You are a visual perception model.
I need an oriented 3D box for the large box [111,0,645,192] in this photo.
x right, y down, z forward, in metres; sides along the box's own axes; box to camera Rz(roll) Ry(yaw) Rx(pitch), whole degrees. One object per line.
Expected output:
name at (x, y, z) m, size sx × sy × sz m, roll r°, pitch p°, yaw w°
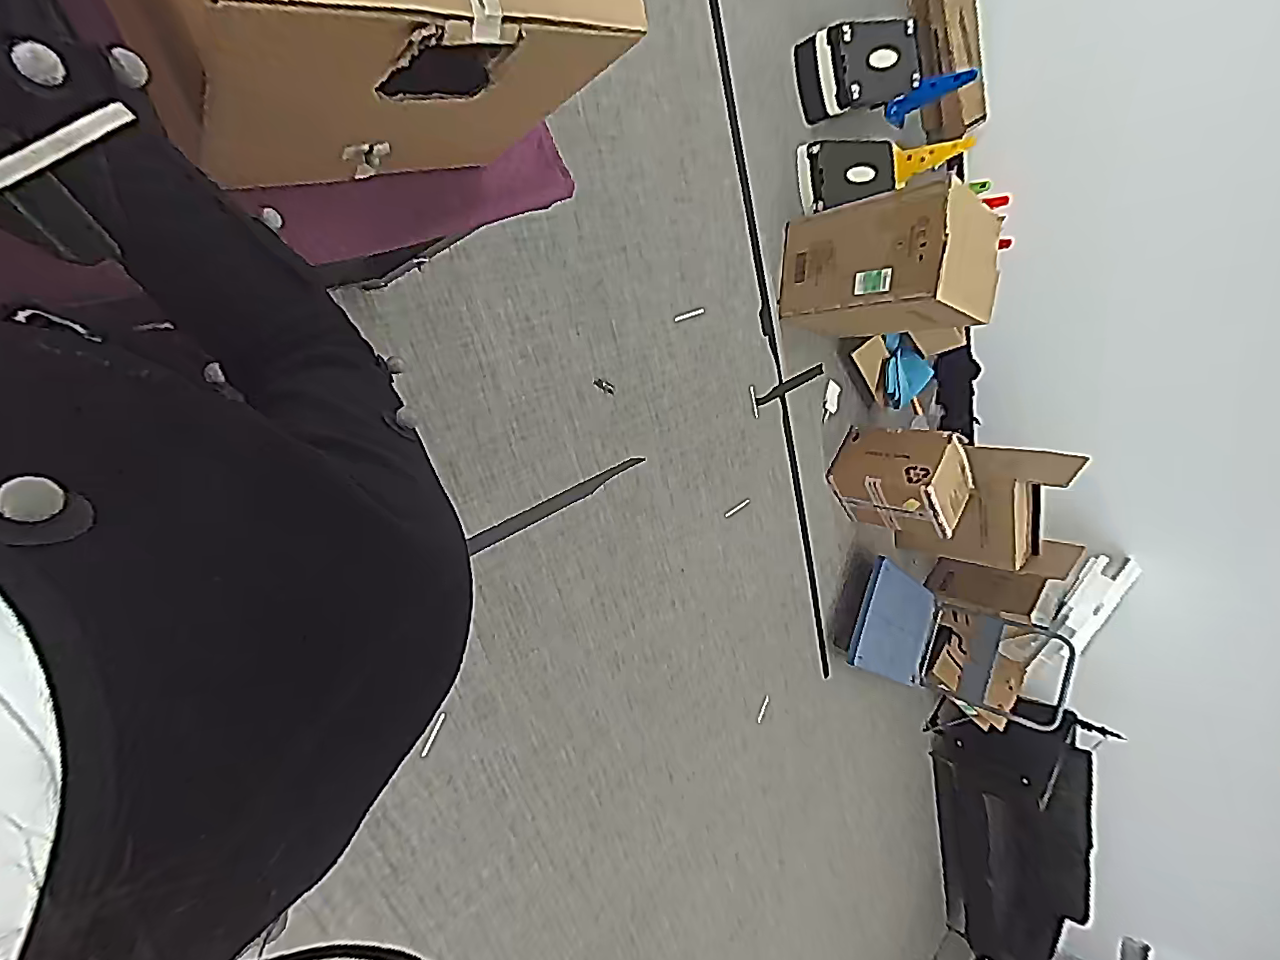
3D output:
large box at (-0.252, -0.493, 0.404) m, size 0.320 × 0.320 × 0.408 m, roll -30°, pitch 114°, yaw -35°
